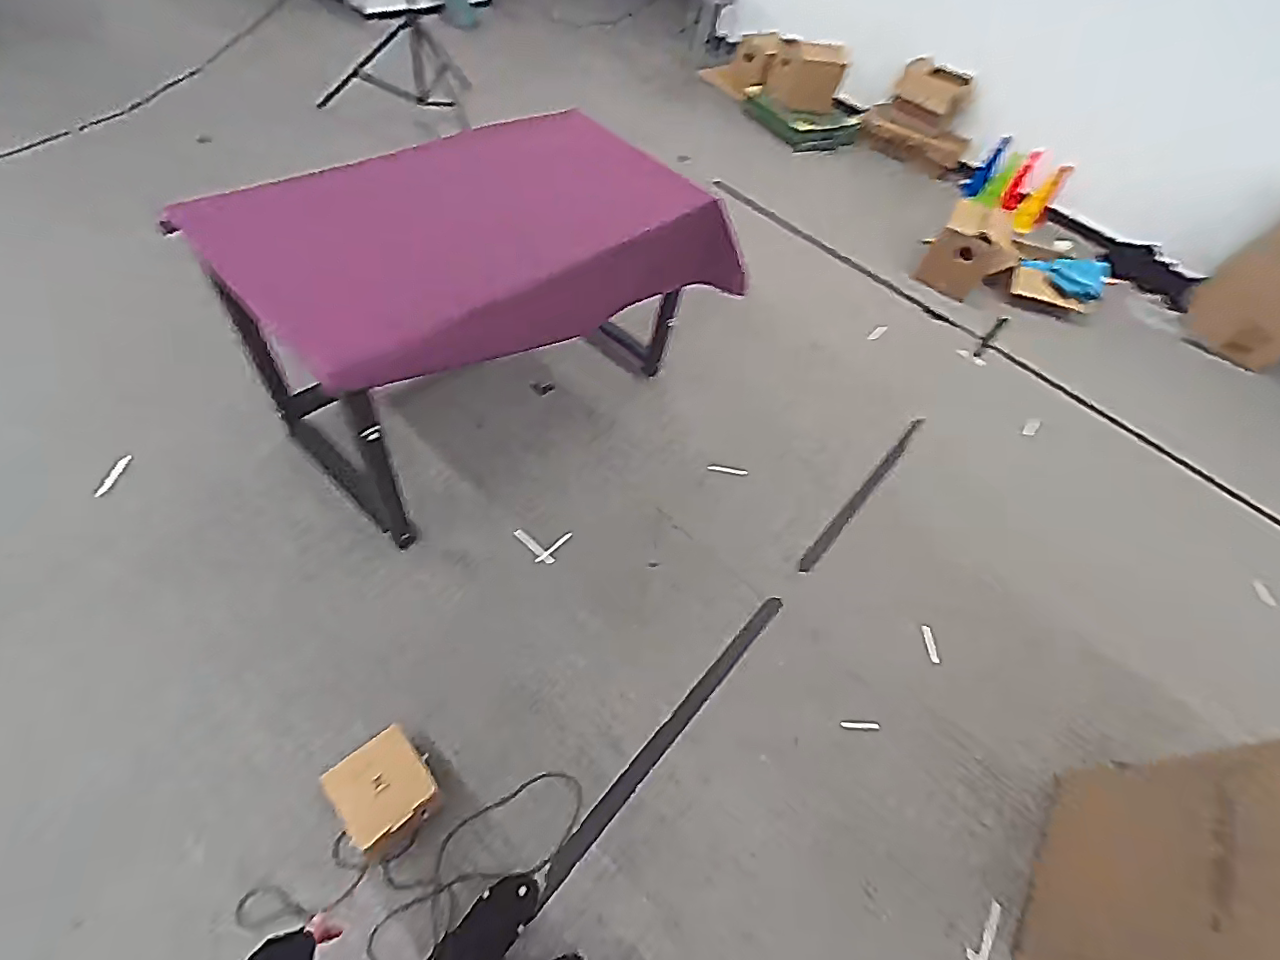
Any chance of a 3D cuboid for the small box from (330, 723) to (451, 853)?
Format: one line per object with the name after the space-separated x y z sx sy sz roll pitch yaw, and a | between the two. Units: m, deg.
-0.531 0.671 1.173 0.168 0.176 0.179 -33 64 -32 | small box
